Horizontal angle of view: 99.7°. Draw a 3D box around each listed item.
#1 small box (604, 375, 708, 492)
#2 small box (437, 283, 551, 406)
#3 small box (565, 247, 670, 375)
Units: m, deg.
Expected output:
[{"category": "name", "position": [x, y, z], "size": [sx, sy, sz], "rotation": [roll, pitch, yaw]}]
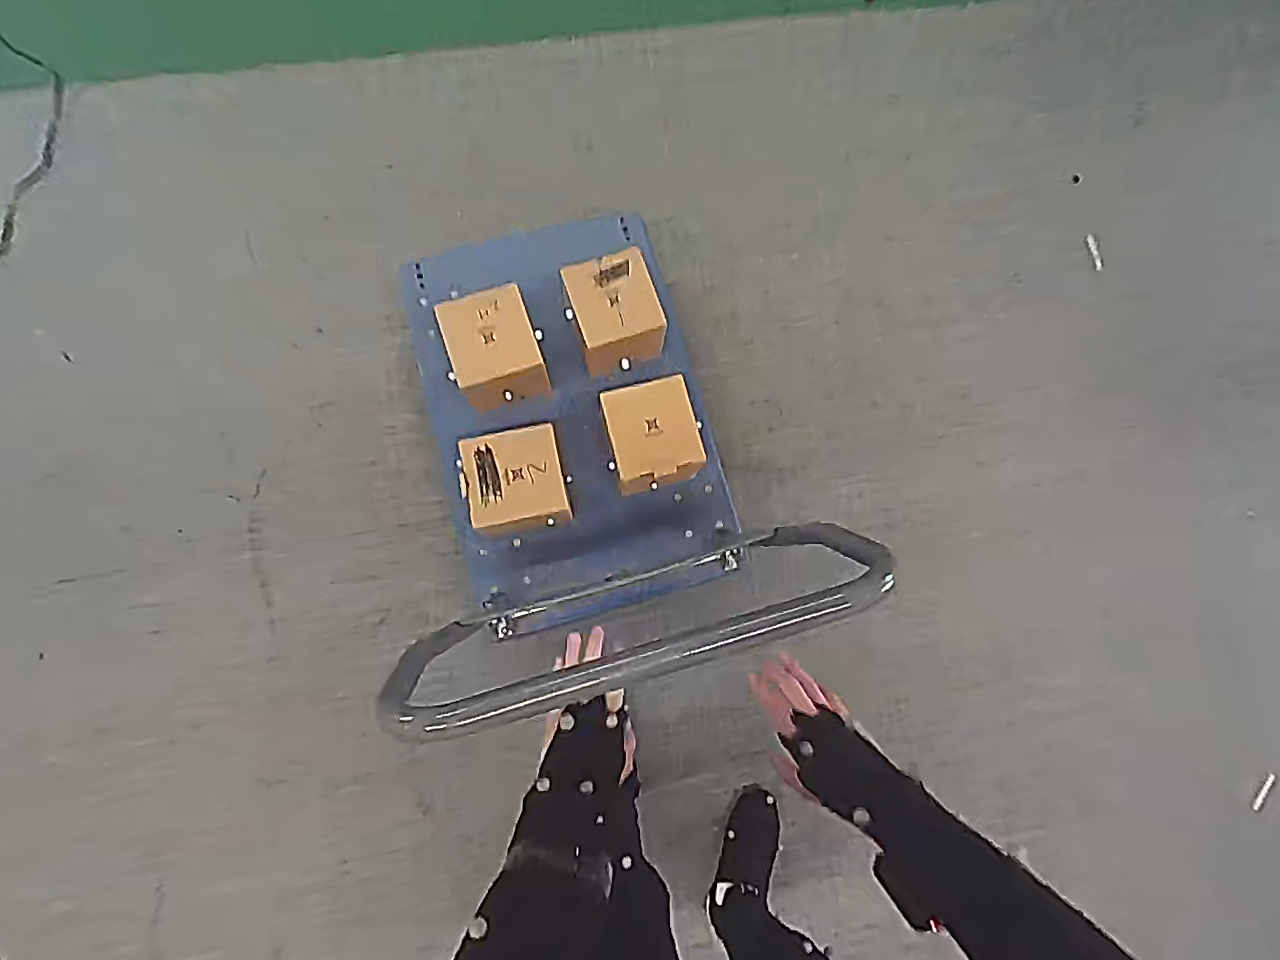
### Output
[{"category": "small box", "position": [0.023, -0.087, 1.086], "size": [0.168, 0.176, 0.179], "rotation": [-14, 82, -6]}, {"category": "small box", "position": [-0.286, -0.263, 1.098], "size": [0.168, 0.176, 0.179], "rotation": [-18, 82, -7]}, {"category": "small box", "position": [-0.050, -0.344, 1.125], "size": [0.168, 0.176, 0.179], "rotation": [-18, 83, -5]}]
